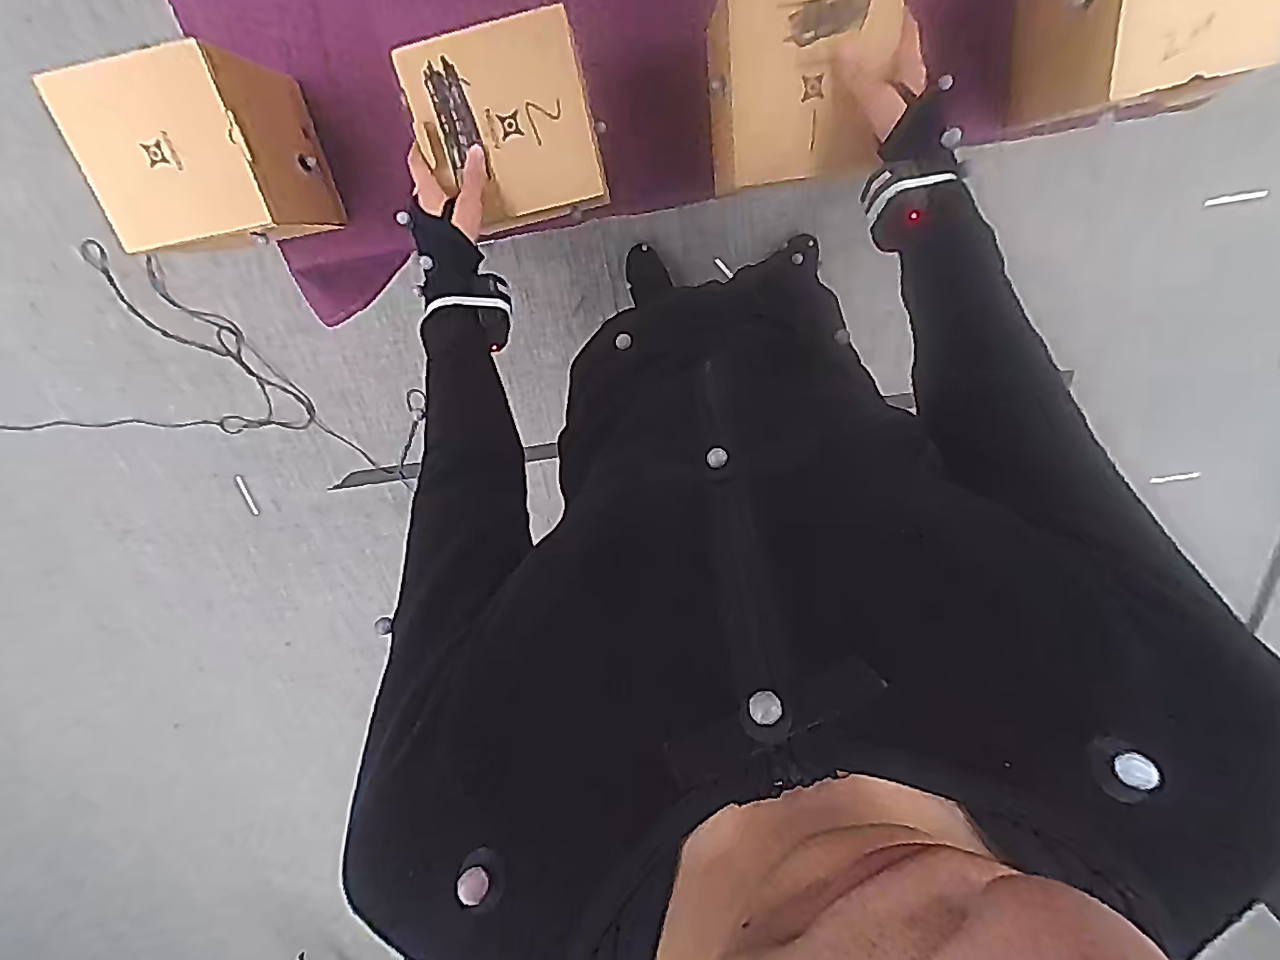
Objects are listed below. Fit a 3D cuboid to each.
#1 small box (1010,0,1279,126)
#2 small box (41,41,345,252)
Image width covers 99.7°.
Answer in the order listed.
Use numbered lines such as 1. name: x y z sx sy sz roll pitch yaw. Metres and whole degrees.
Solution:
1. small box: 0.523 -0.501 0.565 0.168 0.176 0.179 -10 114 6
2. small box: -0.489 -0.366 0.627 0.179 0.176 0.168 -10 114 3
